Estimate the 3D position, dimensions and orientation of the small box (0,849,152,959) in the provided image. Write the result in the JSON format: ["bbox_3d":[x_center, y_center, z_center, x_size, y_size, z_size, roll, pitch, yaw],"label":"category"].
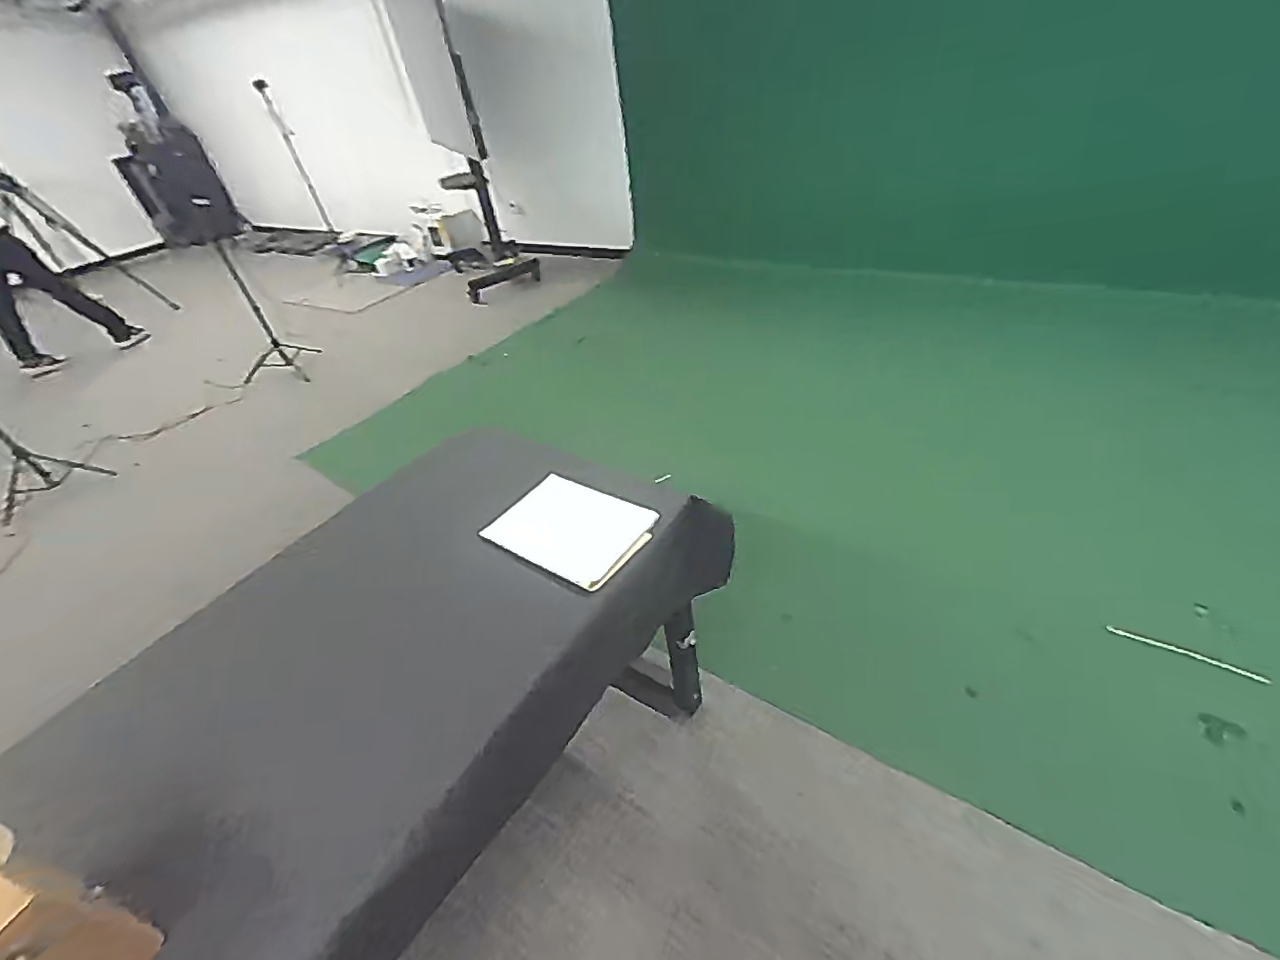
[{"bbox_3d":[-0.608,0.457,0.475,0.168,0.176,0.179,7,40,21],"label":"small box"}]
